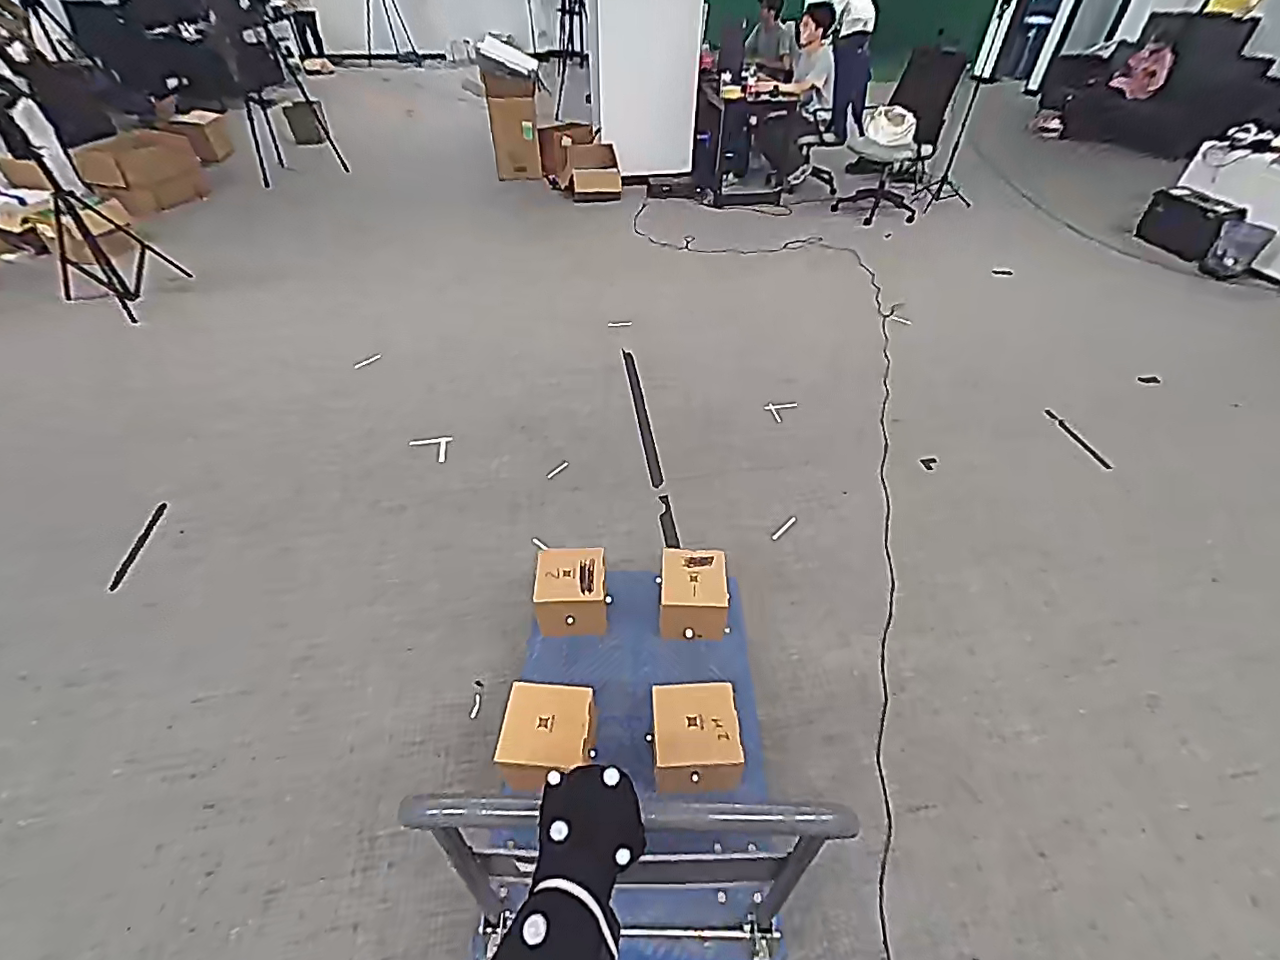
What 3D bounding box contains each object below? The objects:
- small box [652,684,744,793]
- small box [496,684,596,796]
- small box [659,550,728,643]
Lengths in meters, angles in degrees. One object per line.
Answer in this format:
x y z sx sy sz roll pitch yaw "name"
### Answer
0.117 0.561 1.167 0.179 0.176 0.168 -2 44 -2 "small box"
-0.193 0.562 1.165 0.179 0.176 0.168 4 43 2 "small box"
0.137 0.308 1.433 0.168 0.176 0.179 2 45 2 "small box"
